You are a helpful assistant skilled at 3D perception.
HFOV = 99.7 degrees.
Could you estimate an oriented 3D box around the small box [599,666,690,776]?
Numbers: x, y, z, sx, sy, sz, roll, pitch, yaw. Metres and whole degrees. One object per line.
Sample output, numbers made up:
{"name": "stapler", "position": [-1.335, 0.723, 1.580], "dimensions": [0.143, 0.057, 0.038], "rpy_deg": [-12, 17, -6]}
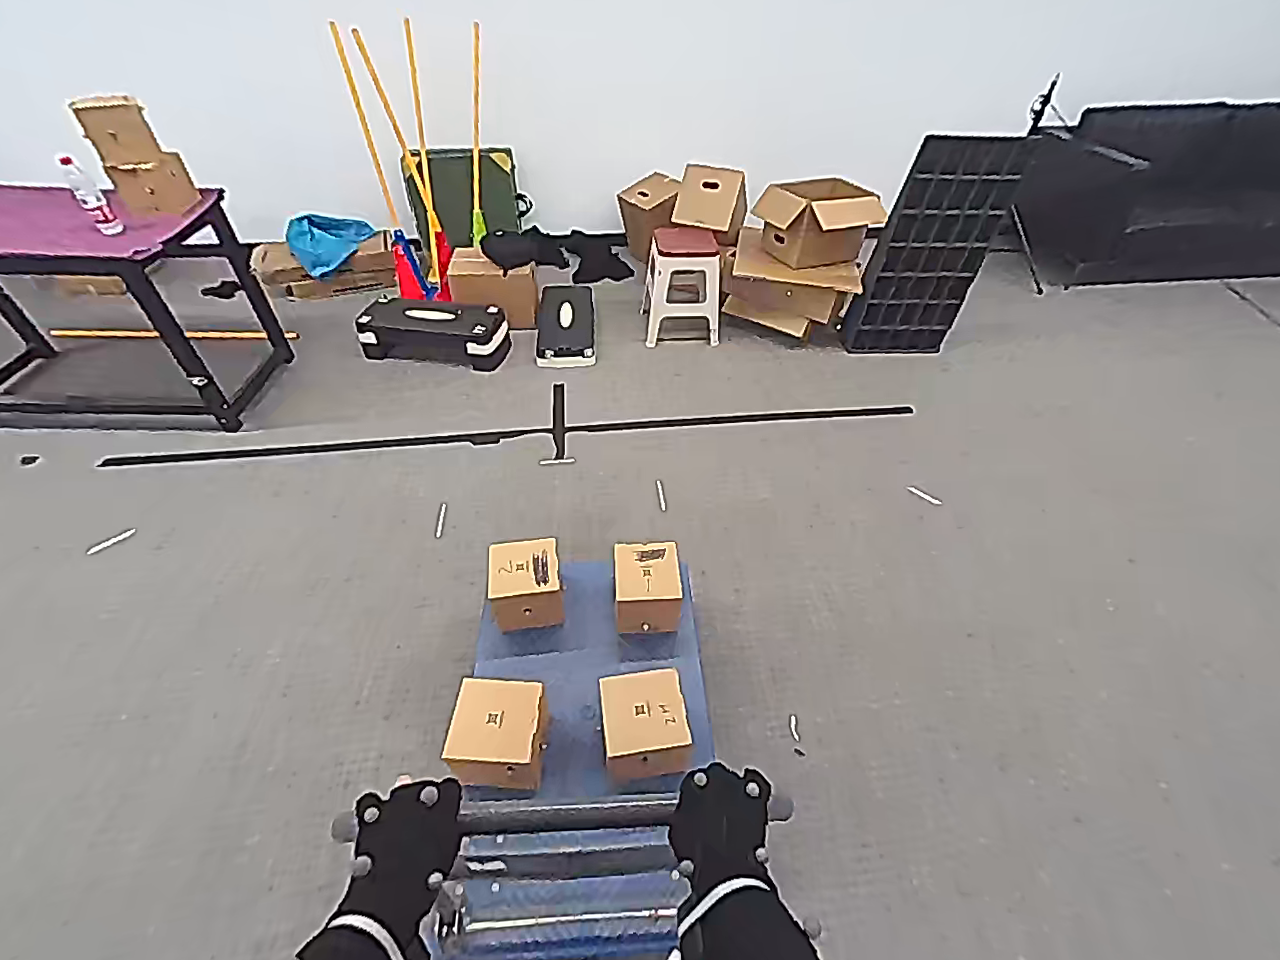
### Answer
{"name": "small box", "position": [0.006, 0.536, 1.199], "dimensions": [0.179, 0.176, 0.168], "rpy_deg": [-5, 46, -7]}

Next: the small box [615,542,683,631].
{"name": "small box", "position": [0.017, 0.285, 1.446], "dimensions": [0.168, 0.176, 0.179], "rpy_deg": [-1, 47, -3]}

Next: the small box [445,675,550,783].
{"name": "small box", "position": [-0.301, 0.545, 1.178], "dimensions": [0.179, 0.176, 0.168], "rpy_deg": [4, 45, -1]}
